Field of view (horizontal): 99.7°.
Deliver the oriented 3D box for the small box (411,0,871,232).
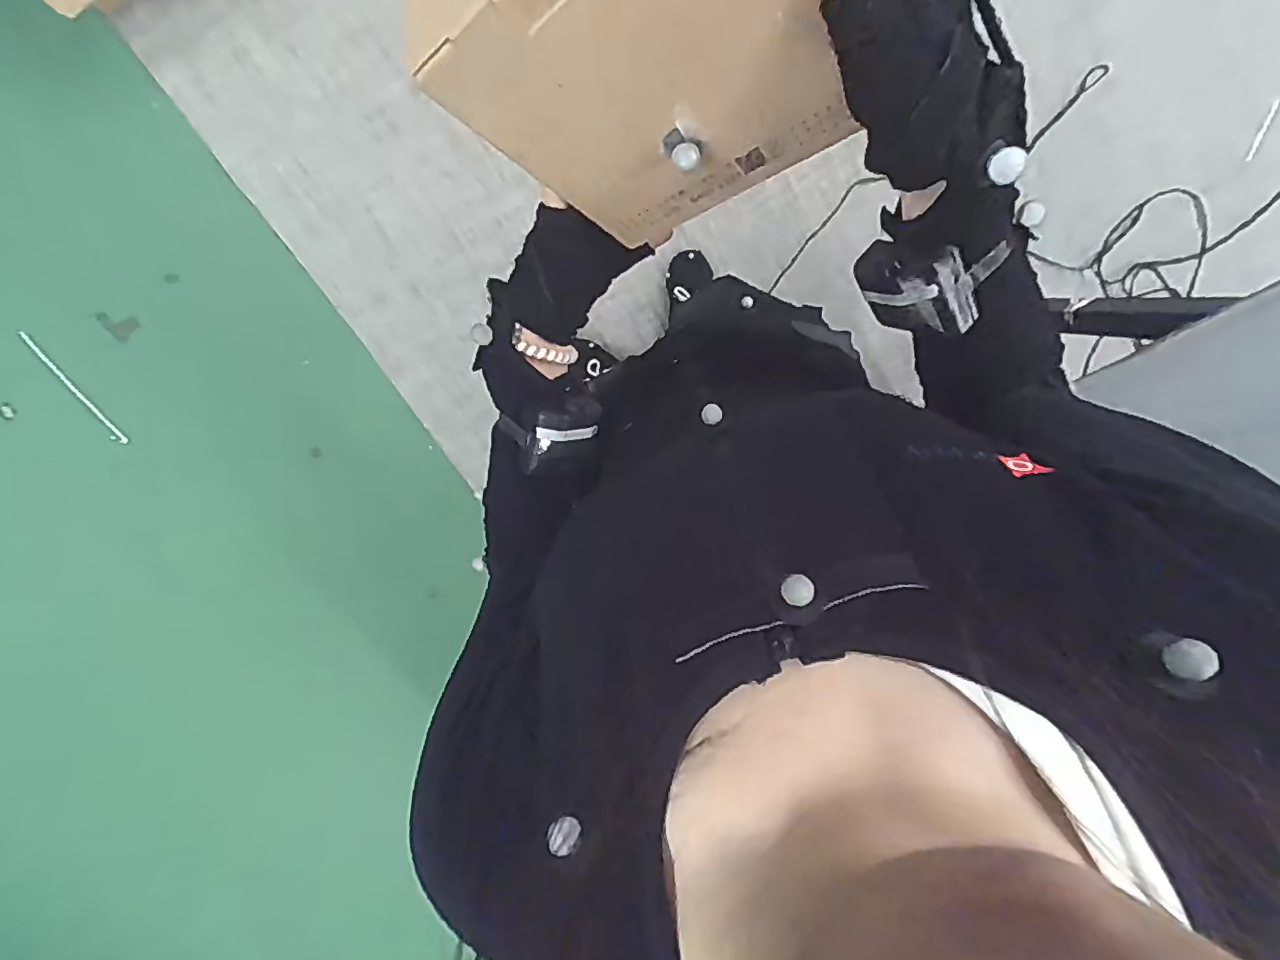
[{"bbox_3d":[0.007,-0.273,0.283,0.168,0.176,0.179,-11,75,36],"label":"small box"}]
